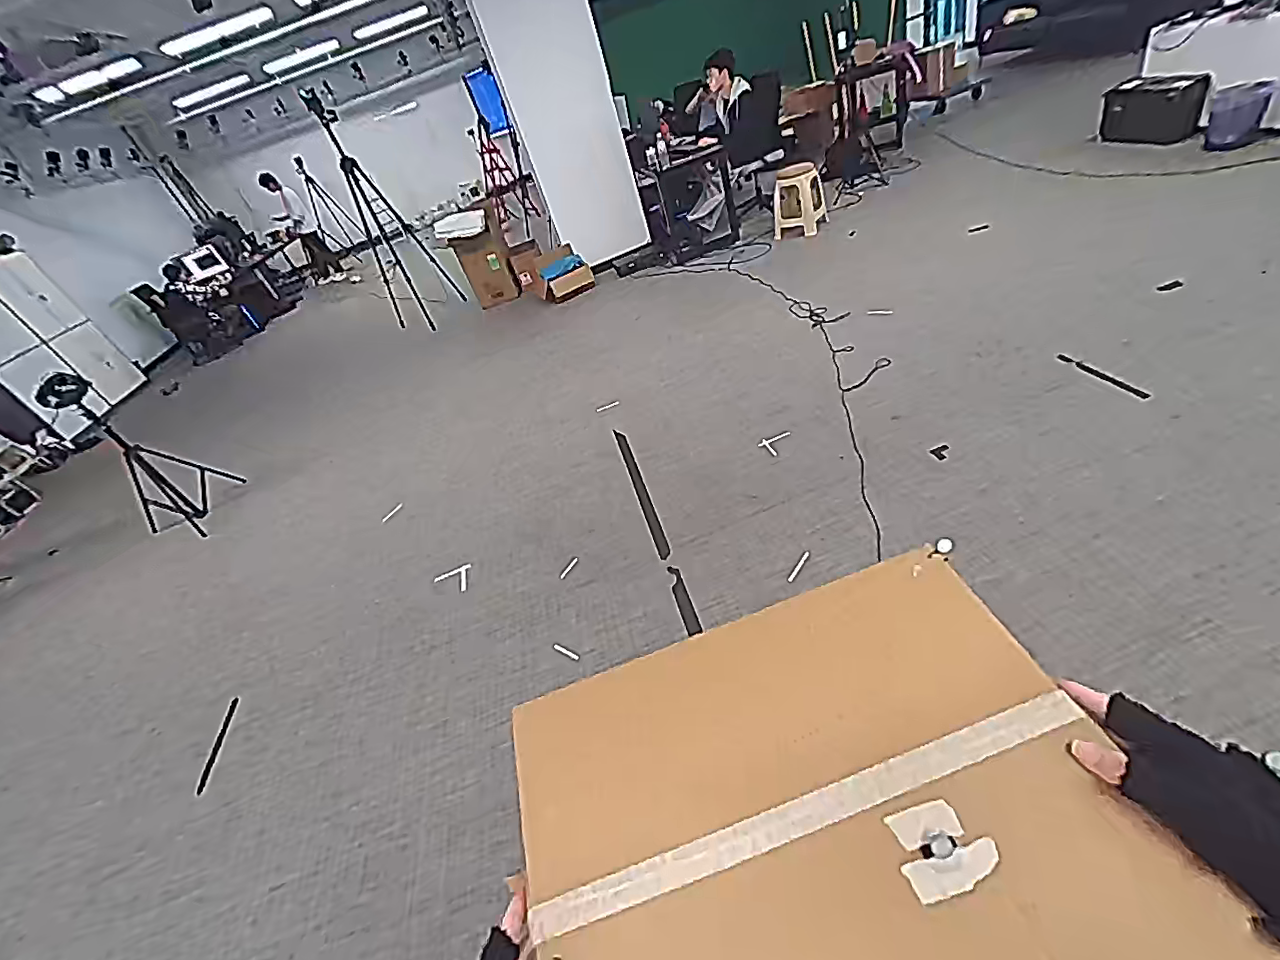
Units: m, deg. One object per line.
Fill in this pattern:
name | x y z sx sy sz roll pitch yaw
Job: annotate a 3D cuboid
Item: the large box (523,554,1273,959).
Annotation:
large box | 0.153 0.339 0.492 0.408 0.320 0.320 -21 45 -2
